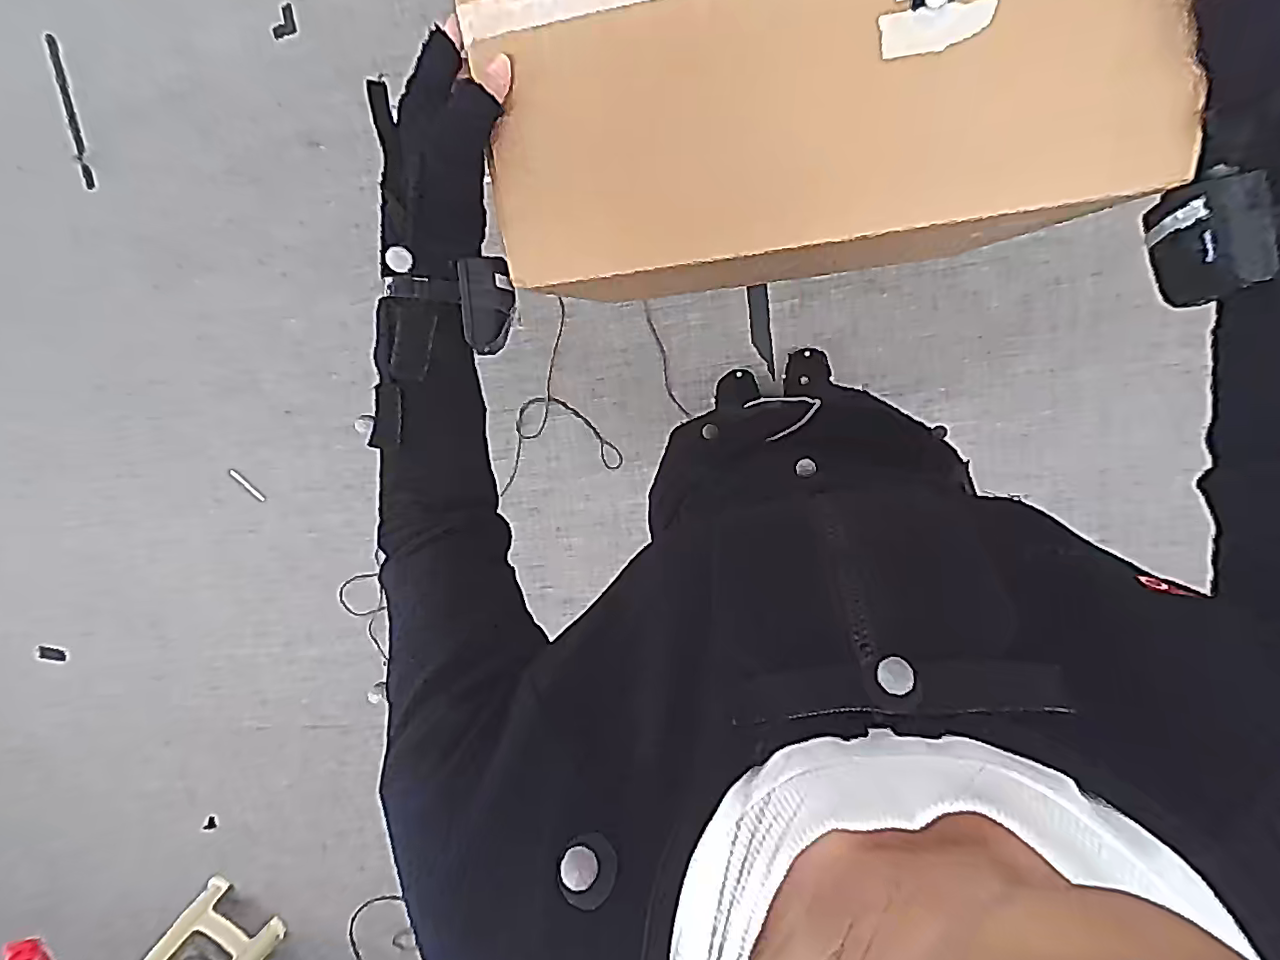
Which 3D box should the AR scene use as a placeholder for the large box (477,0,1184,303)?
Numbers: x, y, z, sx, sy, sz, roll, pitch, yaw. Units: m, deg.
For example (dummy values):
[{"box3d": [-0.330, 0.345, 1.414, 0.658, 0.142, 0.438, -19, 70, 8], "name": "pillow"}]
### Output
[{"box3d": [0.111, -0.345, 0.454, 0.408, 0.320, 0.320, -6, 105, 9], "name": "large box"}]
